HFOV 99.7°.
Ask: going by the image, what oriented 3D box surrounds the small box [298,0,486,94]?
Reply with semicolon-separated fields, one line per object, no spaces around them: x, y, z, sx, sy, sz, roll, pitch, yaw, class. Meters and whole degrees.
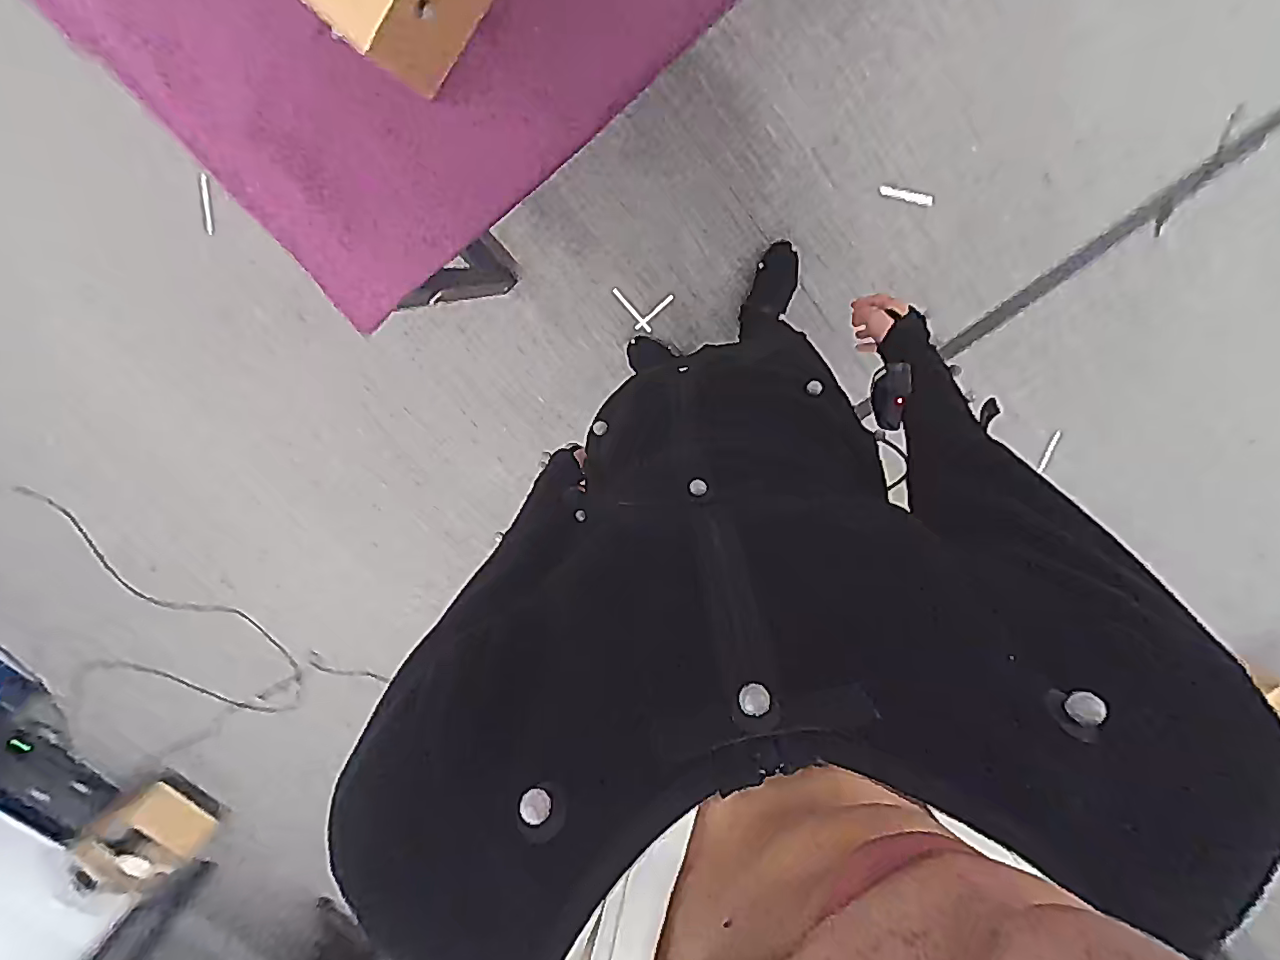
-0.293;-0.584;0.602;0.168;0.176;0.179;41;107;-11;small box
